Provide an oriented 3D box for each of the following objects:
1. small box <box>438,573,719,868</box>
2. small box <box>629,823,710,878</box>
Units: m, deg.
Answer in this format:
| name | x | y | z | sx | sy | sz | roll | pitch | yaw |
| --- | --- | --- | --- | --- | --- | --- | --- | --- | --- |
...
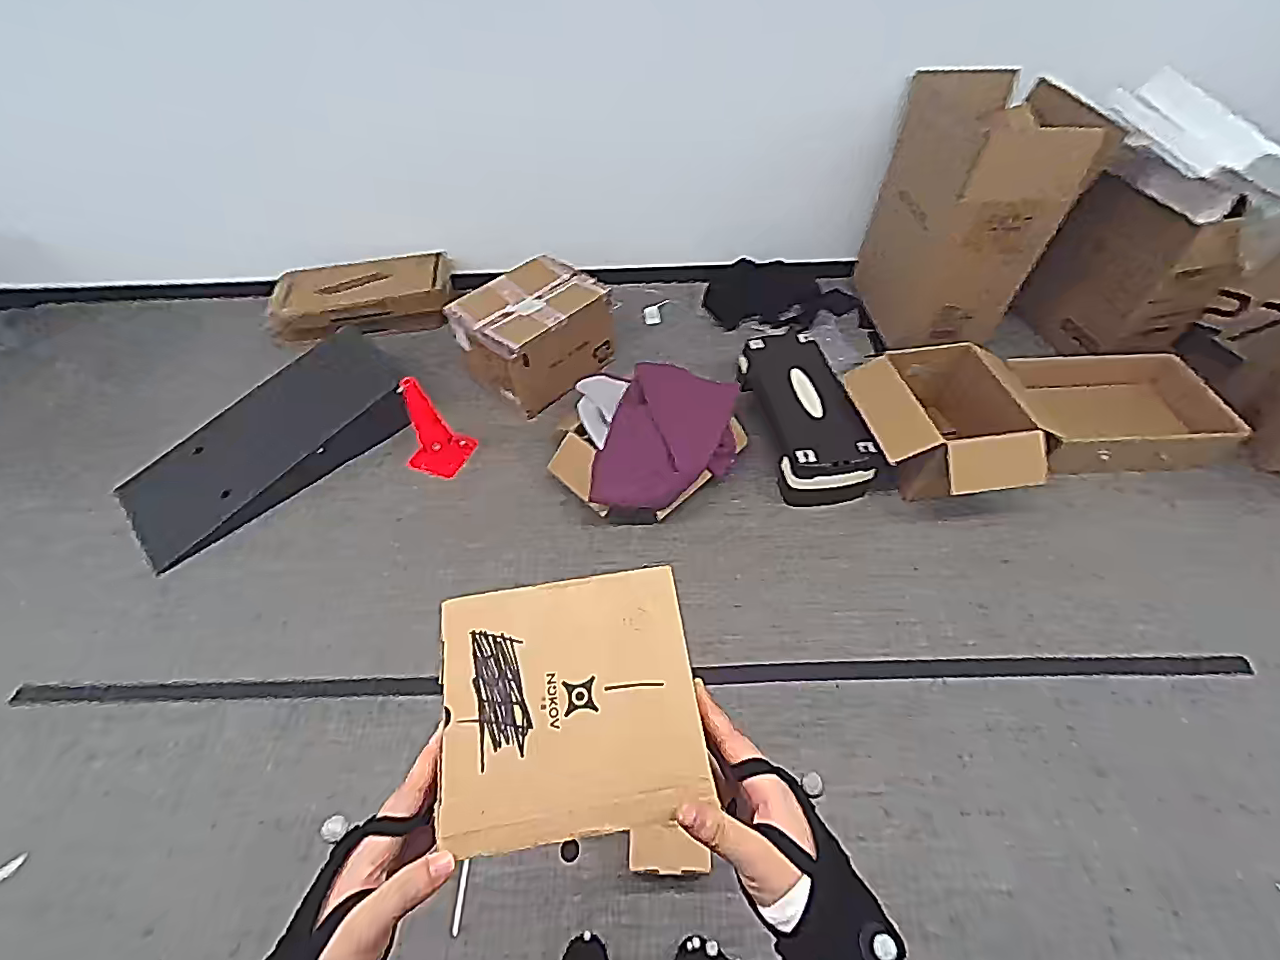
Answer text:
| name | x | y | z | sx | sy | sz | roll | pitch | yaw |
| --- | --- | --- | --- | --- | --- | --- | --- | --- | --- |
| small box | -0.045 | 0.192 | 0.435 | 0.179 | 0.176 | 0.168 | -9 | 61 | -4 |
| small box | 0.065 | 0.762 | 1.184 | 0.168 | 0.176 | 0.179 | 0 | 53 | 2 |
